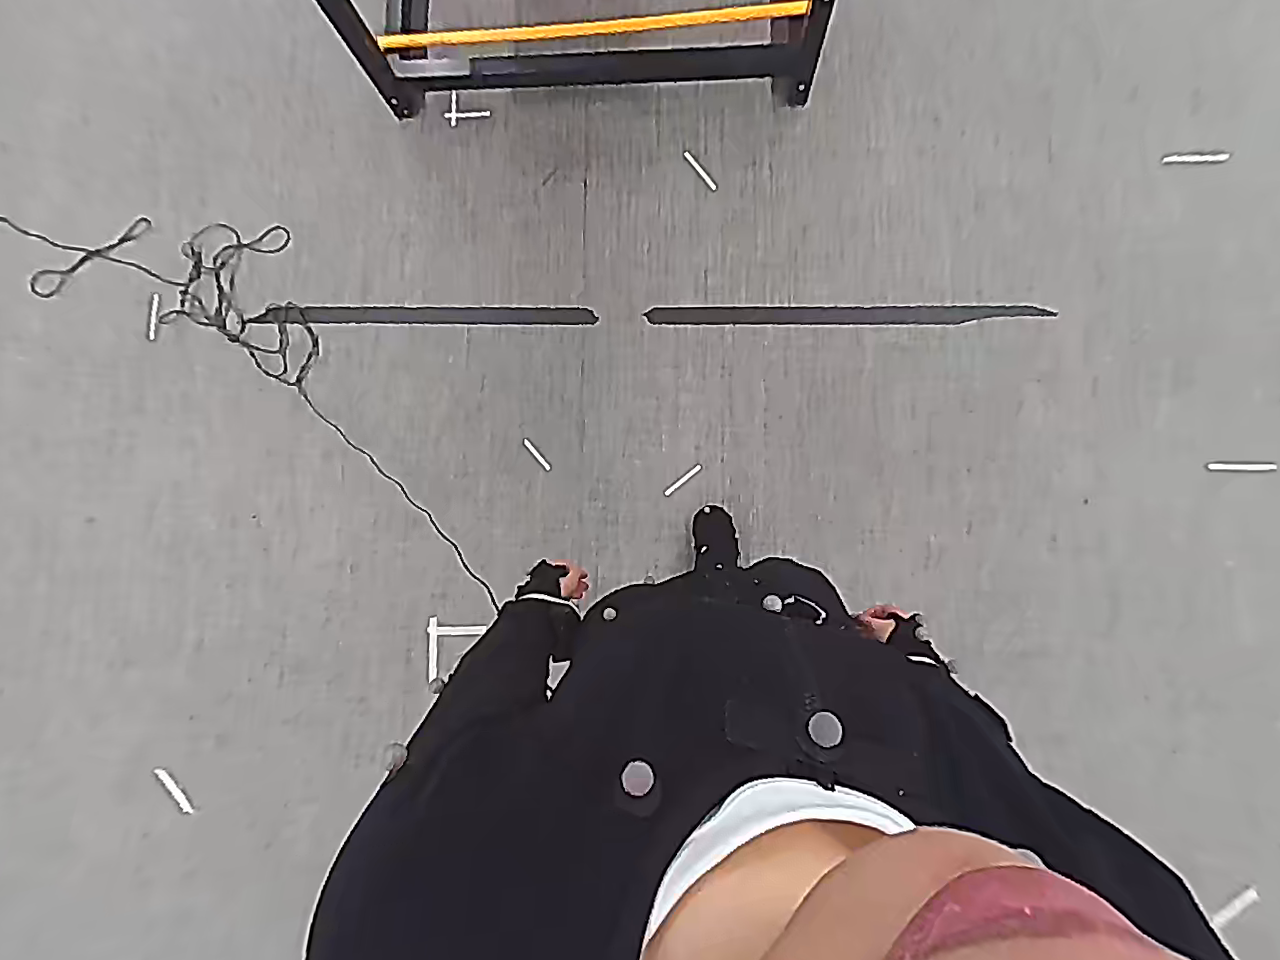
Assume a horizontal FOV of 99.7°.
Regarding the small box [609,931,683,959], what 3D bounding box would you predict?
[{"bbox_3d":[0.010,1.182,1.241,0.179,0.176,0.168,1,85,3],"label":"small box"}]
